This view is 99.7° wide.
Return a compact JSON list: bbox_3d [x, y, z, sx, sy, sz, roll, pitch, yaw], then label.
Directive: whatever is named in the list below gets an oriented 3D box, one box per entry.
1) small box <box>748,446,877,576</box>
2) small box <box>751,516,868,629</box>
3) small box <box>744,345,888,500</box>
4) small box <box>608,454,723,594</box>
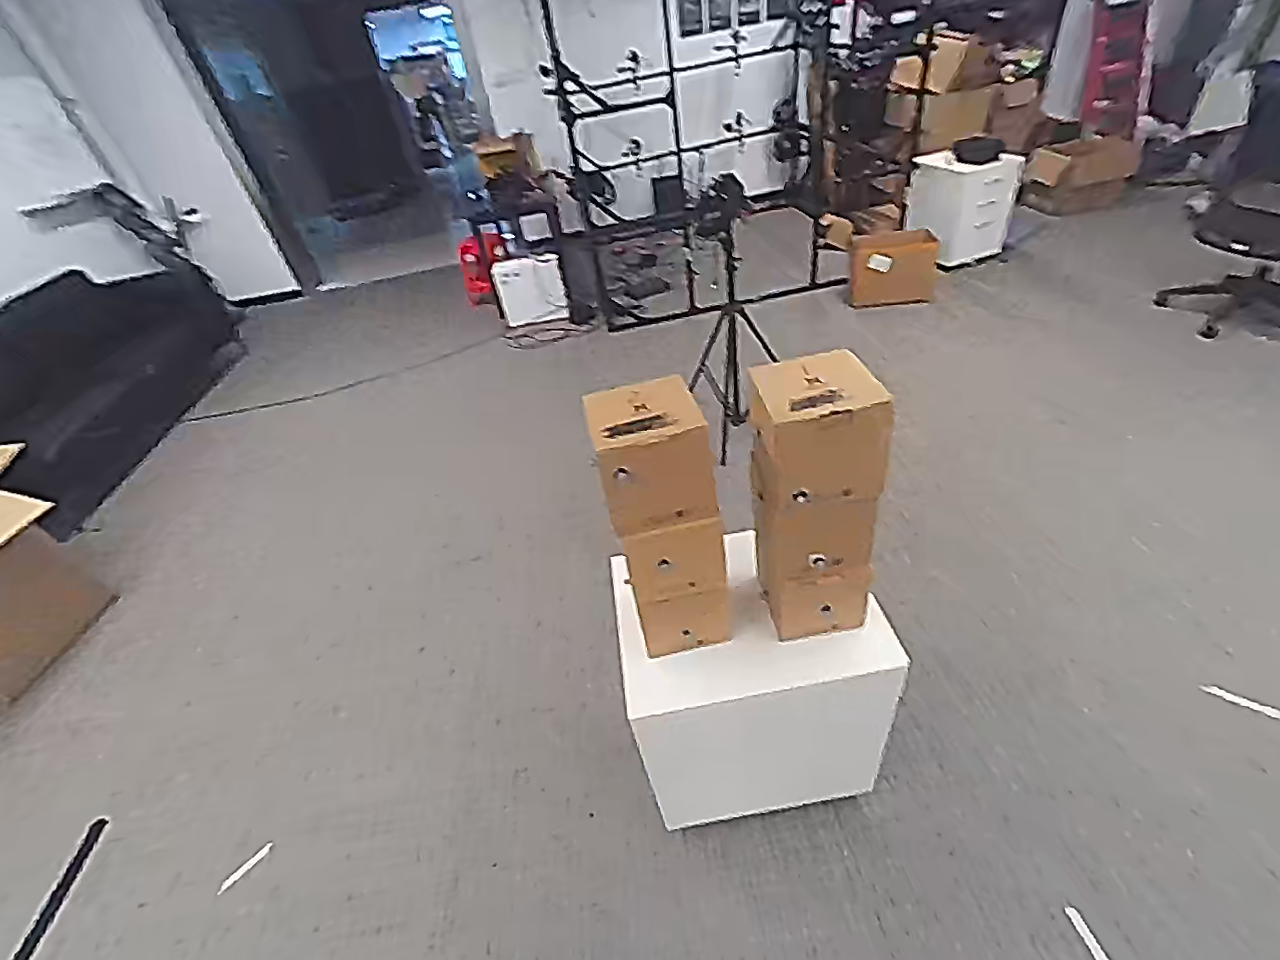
[{"bbox_3d":[0.292,0.040,0.949,0.168,0.176,0.179,-12,39,2],"label":"small box"},{"bbox_3d":[0.318,0.169,1.044,0.168,0.176,0.179,-11,40,0],"label":"small box"},{"bbox_3d":[0.266,-0.084,0.844,0.168,0.176,0.179,-11,37,3],"label":"small box"},{"bbox_3d":[0.045,0.083,0.957,0.168,0.176,0.179,-12,38,-1],"label":"small box"}]
